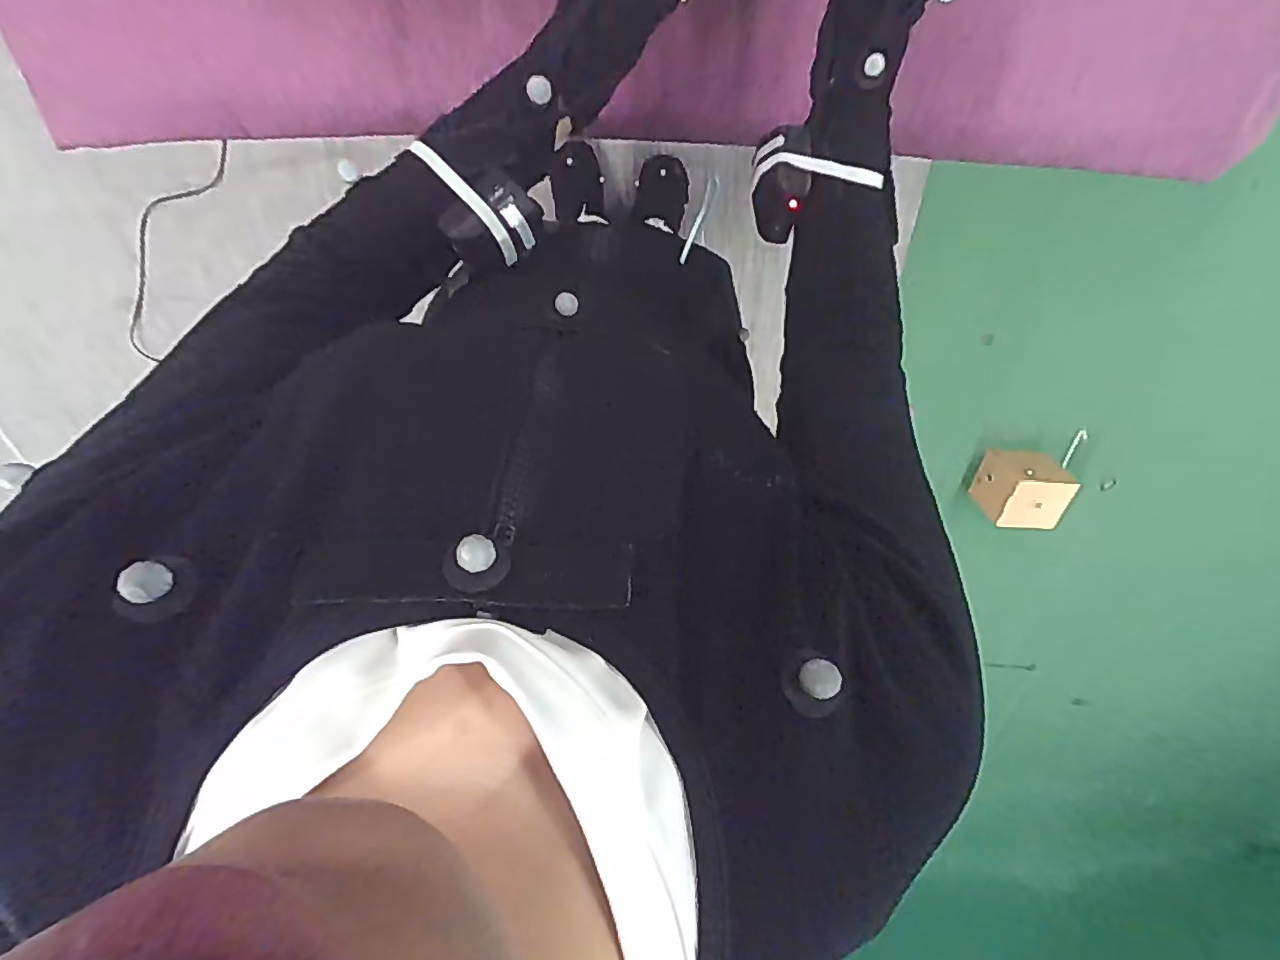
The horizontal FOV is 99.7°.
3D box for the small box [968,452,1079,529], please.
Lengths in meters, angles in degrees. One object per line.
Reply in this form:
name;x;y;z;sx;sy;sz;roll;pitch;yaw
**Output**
small box;1.129;0.028;1.608;0.179;0.176;0.168;3;125;-1
